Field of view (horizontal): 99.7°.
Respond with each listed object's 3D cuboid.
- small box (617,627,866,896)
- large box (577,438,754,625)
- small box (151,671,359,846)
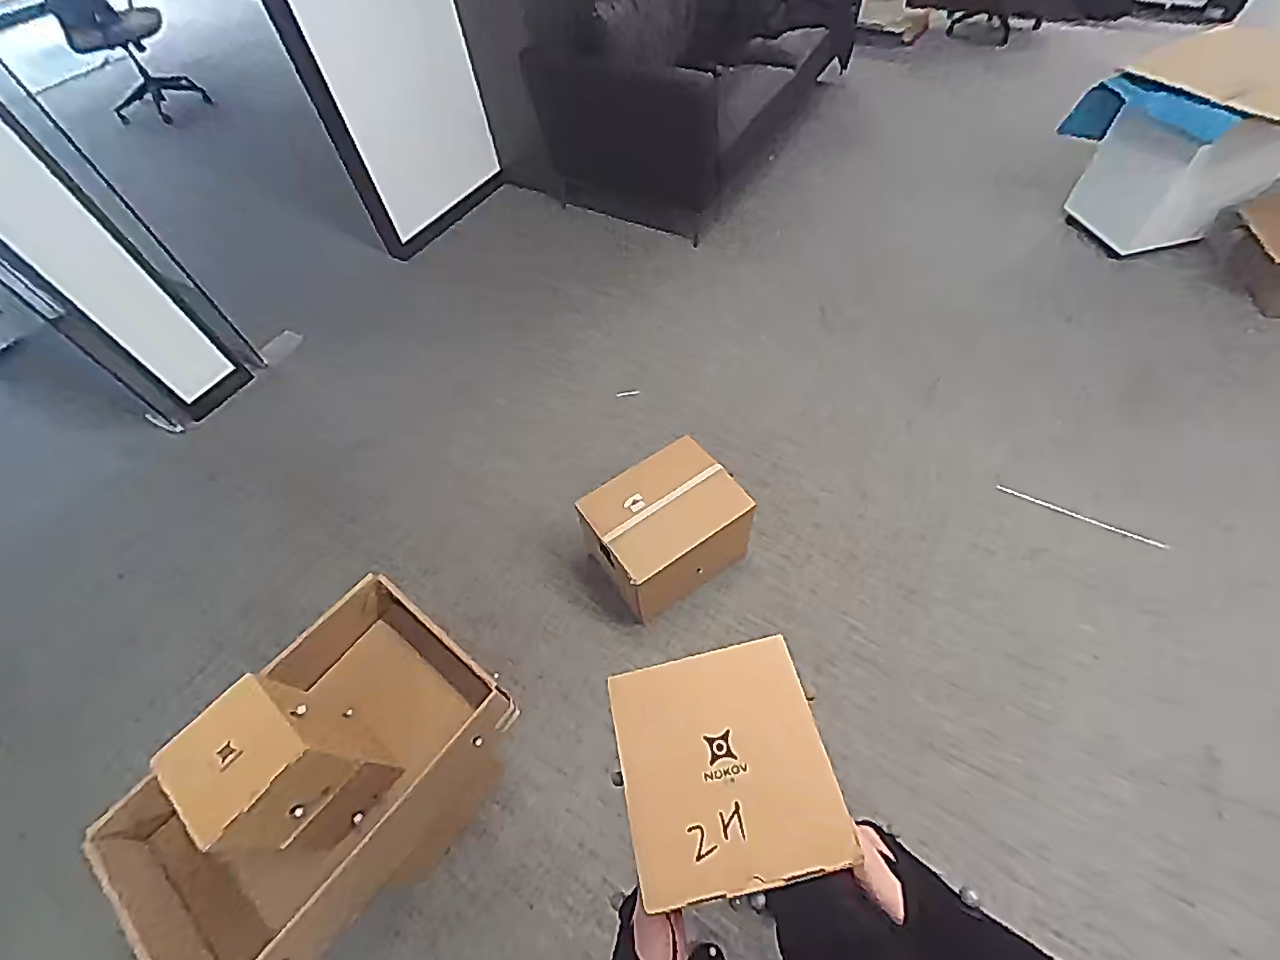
[{"bbox_3d":[0.082,0.265,0.505,0.168,0.176,0.179,-14,53,1],"label":"small box"},{"bbox_3d":[0.079,0.155,1.609,0.408,0.320,0.320,-32,59,-15],"label":"large box"},{"bbox_3d":[-0.591,0.439,0.850,0.179,0.176,0.168,33,65,22],"label":"small box"}]
